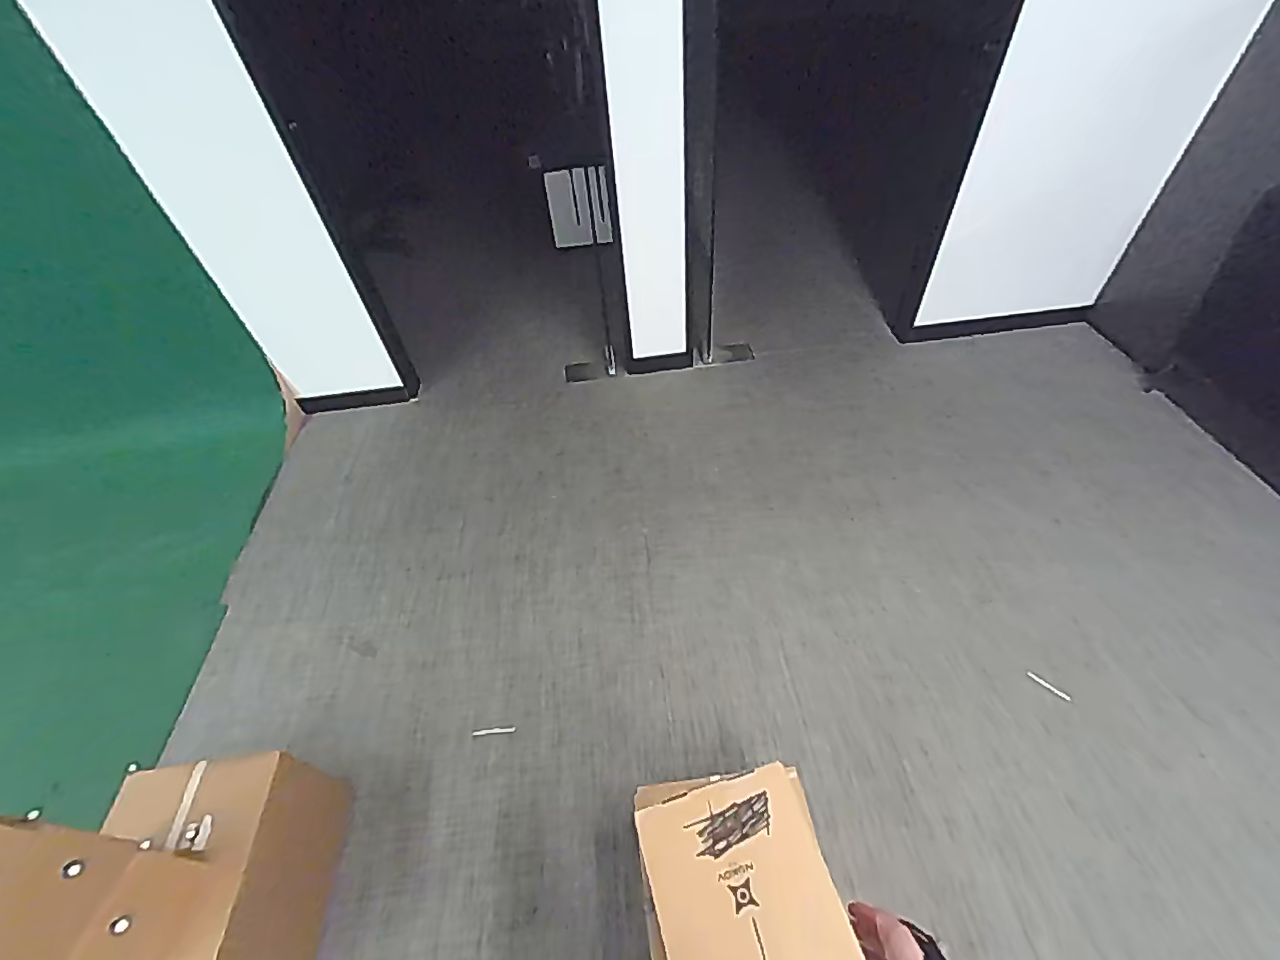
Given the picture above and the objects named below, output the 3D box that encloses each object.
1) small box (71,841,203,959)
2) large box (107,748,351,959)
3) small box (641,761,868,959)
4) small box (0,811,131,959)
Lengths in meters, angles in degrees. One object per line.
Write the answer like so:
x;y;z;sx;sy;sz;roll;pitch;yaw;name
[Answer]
-0.862;0.694;0.867;0.168;0.176;0.179;0;49;6;small box
-0.842;0.816;1.082;0.320;0.320;0.408;-8;47;-1;large box
0.105;0.429;0.565;0.168;0.176;0.179;-16;49;-6;small box
-0.881;0.580;0.752;0.168;0.176;0.179;2;50;9;small box
